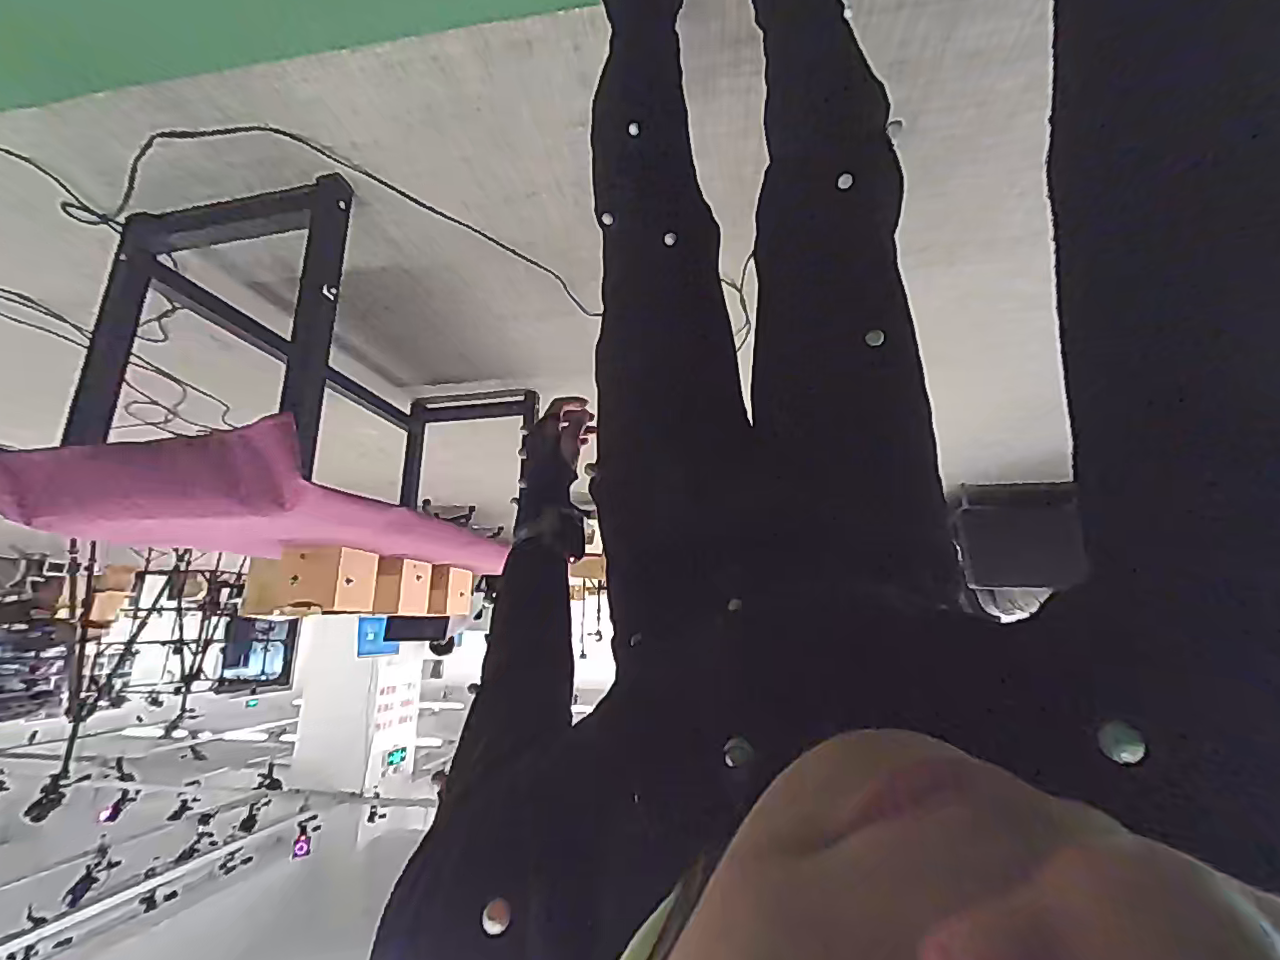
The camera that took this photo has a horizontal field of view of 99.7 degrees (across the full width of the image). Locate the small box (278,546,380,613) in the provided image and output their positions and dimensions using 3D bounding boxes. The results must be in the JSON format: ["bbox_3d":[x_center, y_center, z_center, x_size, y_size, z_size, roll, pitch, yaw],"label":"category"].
[{"bbox_3d":[-0.828,0.269,1.455,0.168,0.176,0.179,-1,165,5],"label":"small box"}]

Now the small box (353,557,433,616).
[{"bbox_3d":[-0.779,0.339,1.712,0.179,0.176,0.168,-3,165,9],"label":"small box"}]

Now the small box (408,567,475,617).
[{"bbox_3d":[-0.714,0.403,1.951,0.168,0.176,0.179,-2,166,9],"label":"small box"}]
